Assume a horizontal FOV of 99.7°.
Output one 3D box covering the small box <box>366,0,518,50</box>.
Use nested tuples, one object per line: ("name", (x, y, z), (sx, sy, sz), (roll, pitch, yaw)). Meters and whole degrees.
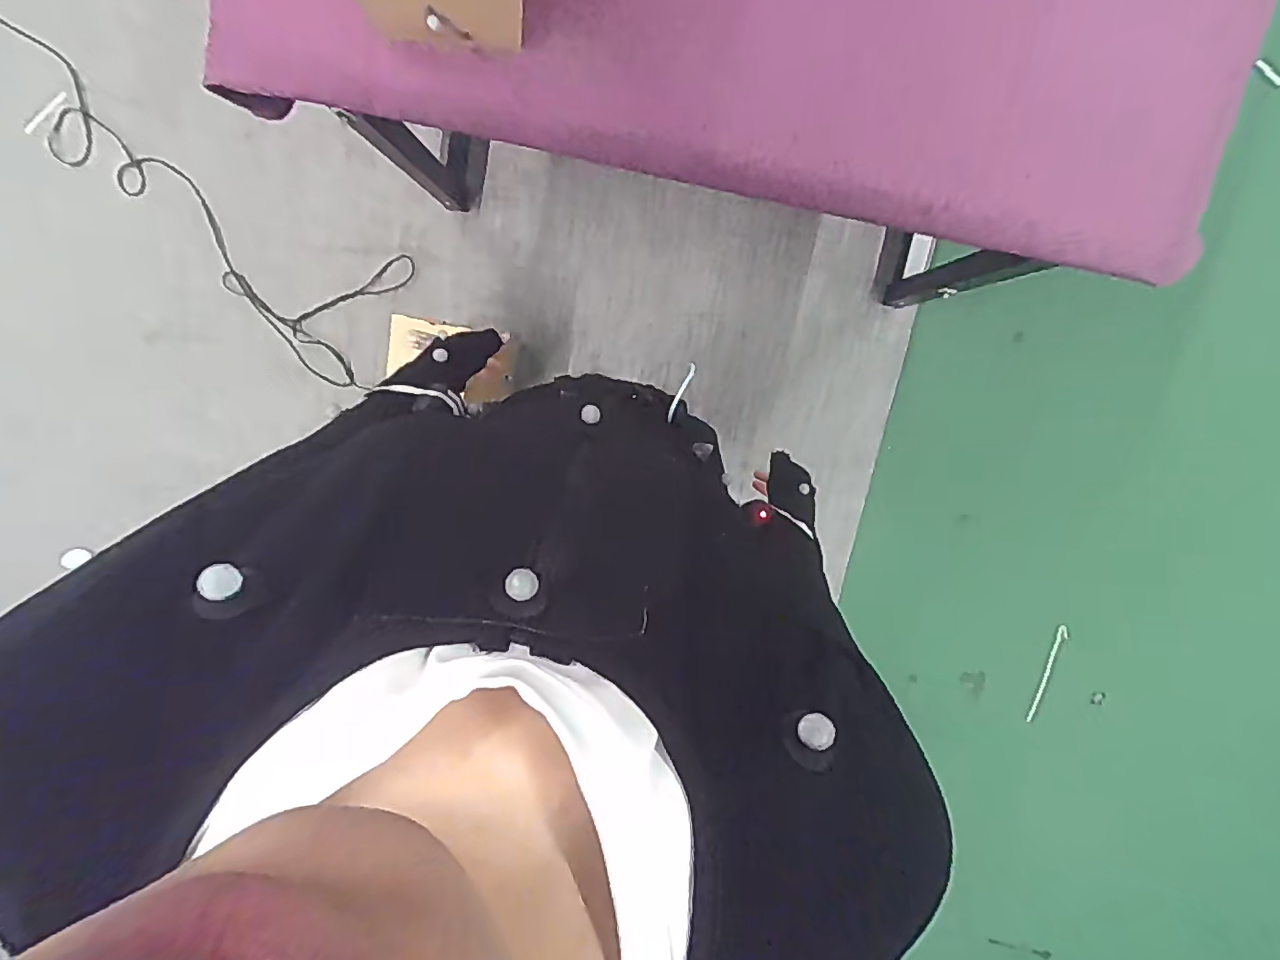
("small box", (-0.216, -0.589, 0.545), (0.168, 0.176, 0.179), (6, 100, -2))
